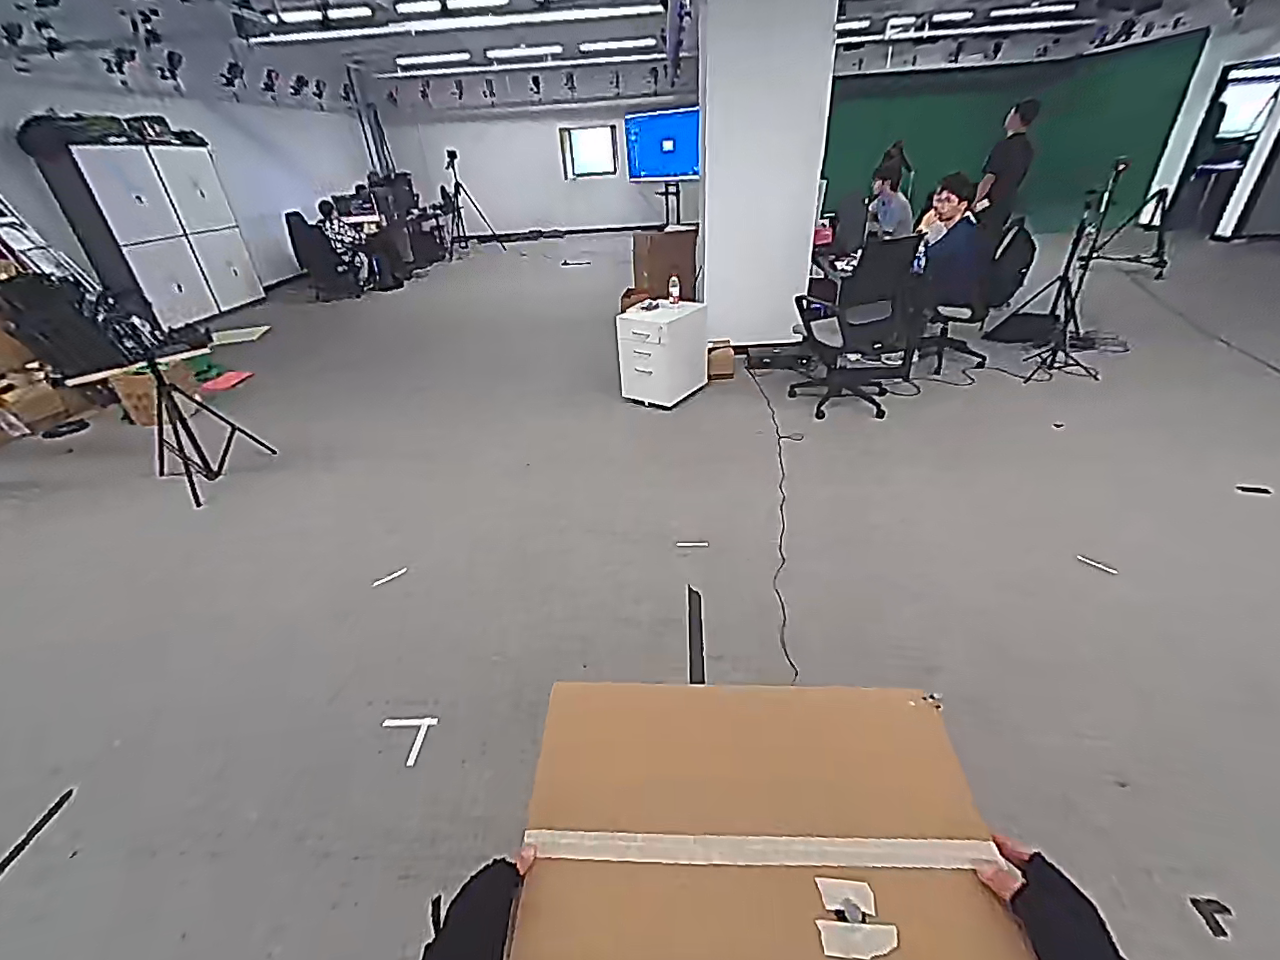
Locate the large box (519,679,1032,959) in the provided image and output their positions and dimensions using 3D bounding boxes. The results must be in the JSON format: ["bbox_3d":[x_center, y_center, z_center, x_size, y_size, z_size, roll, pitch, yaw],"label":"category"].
[{"bbox_3d":[0.106,0.436,0.572,0.408,0.320,0.320,0,39,2],"label":"large box"}]
